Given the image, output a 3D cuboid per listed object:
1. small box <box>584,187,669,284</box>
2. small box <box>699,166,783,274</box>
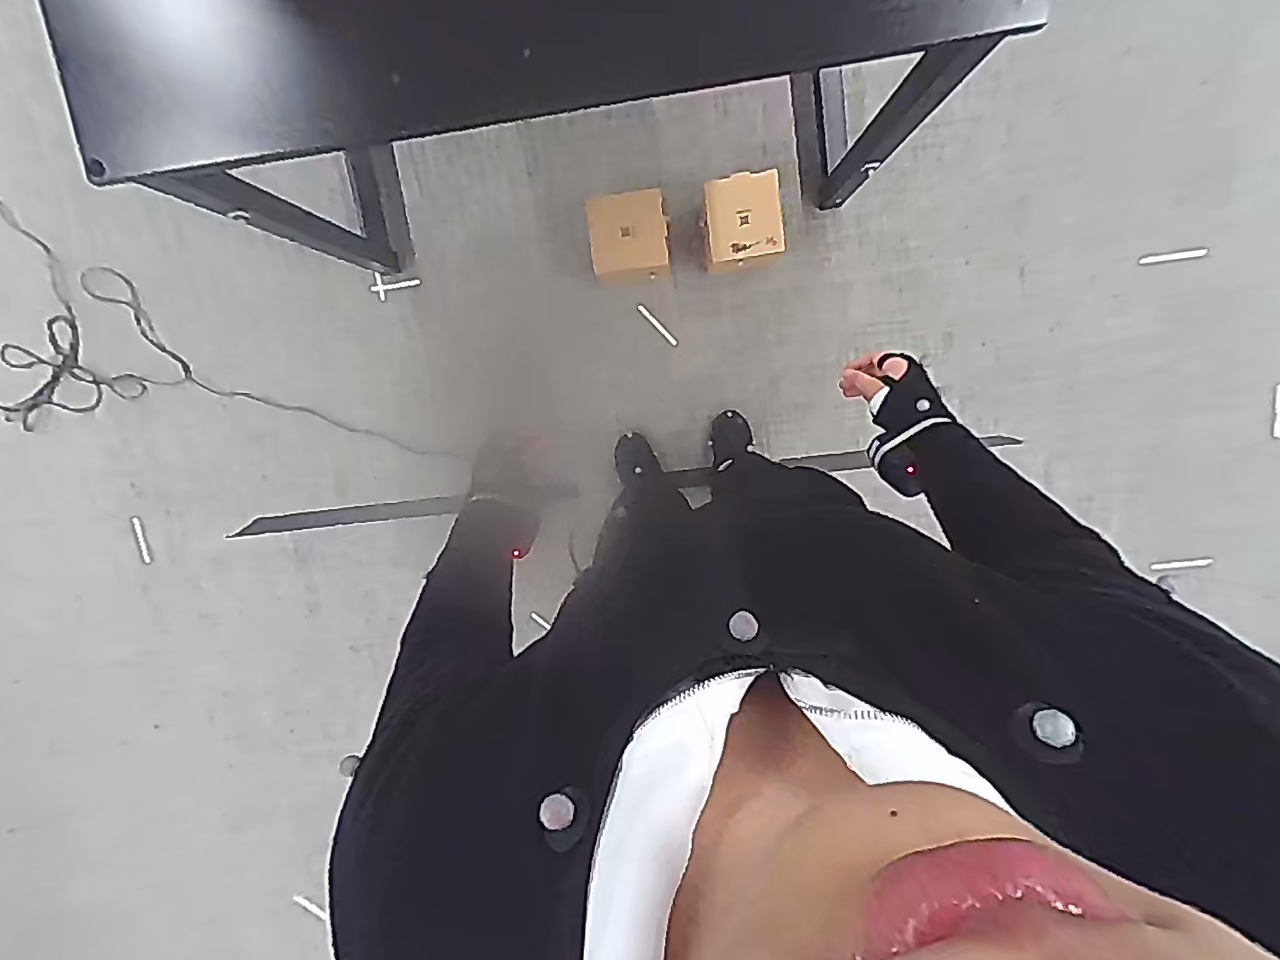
[{"bbox_3d":[-0.027,-0.581,1.303,0.179,0.176,0.168,-7,99,5],"label":"small box"},{"bbox_3d":[0.234,-0.608,1.283,0.168,0.176,0.179,-8,99,5],"label":"small box"}]
